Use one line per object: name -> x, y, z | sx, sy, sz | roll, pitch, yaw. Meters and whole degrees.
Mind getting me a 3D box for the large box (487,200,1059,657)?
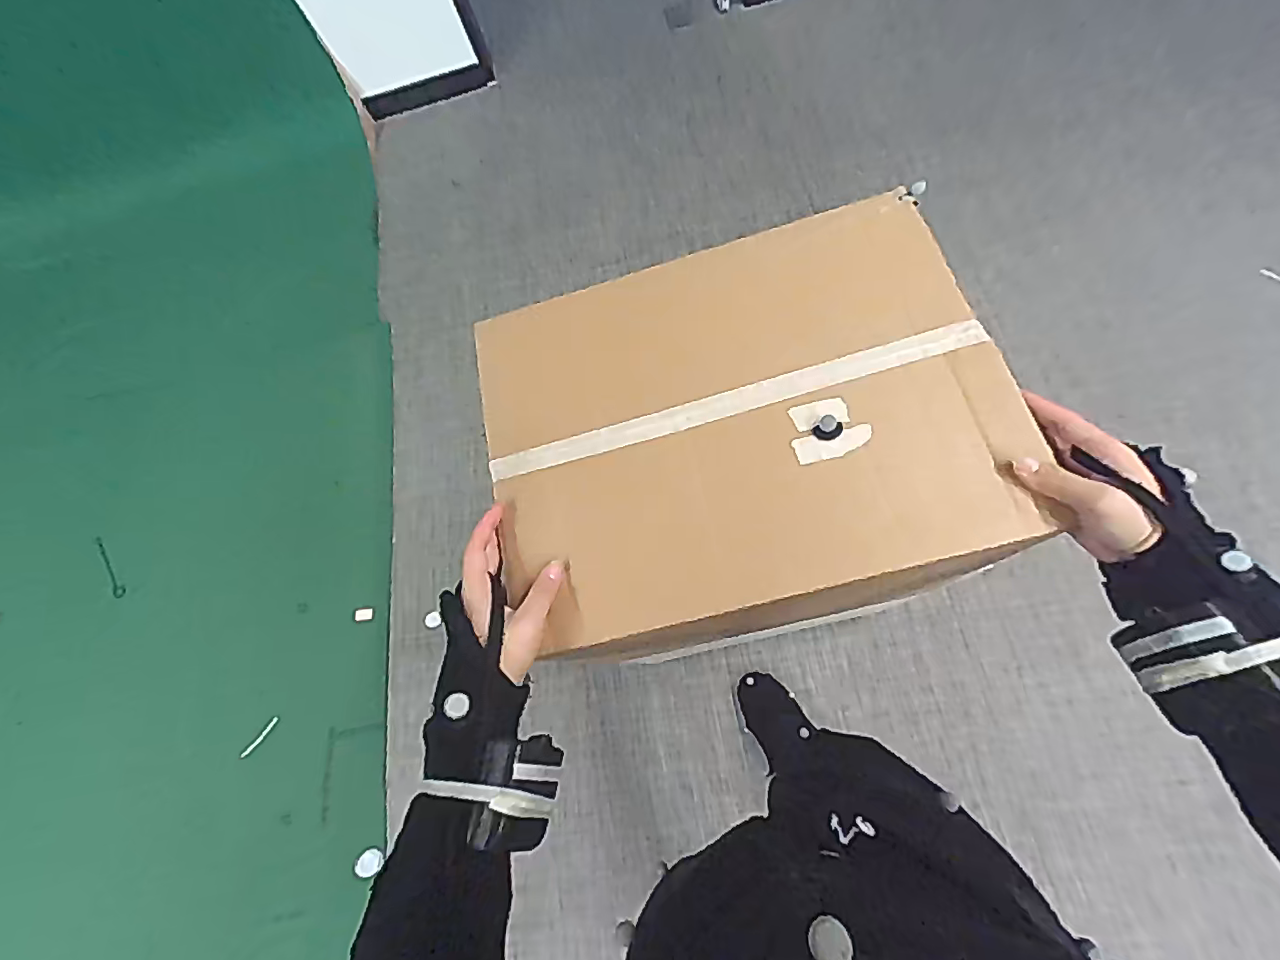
large box -> 0.099, -0.014, 0.586 | 0.408, 0.320, 0.320 | -15, 70, 5
